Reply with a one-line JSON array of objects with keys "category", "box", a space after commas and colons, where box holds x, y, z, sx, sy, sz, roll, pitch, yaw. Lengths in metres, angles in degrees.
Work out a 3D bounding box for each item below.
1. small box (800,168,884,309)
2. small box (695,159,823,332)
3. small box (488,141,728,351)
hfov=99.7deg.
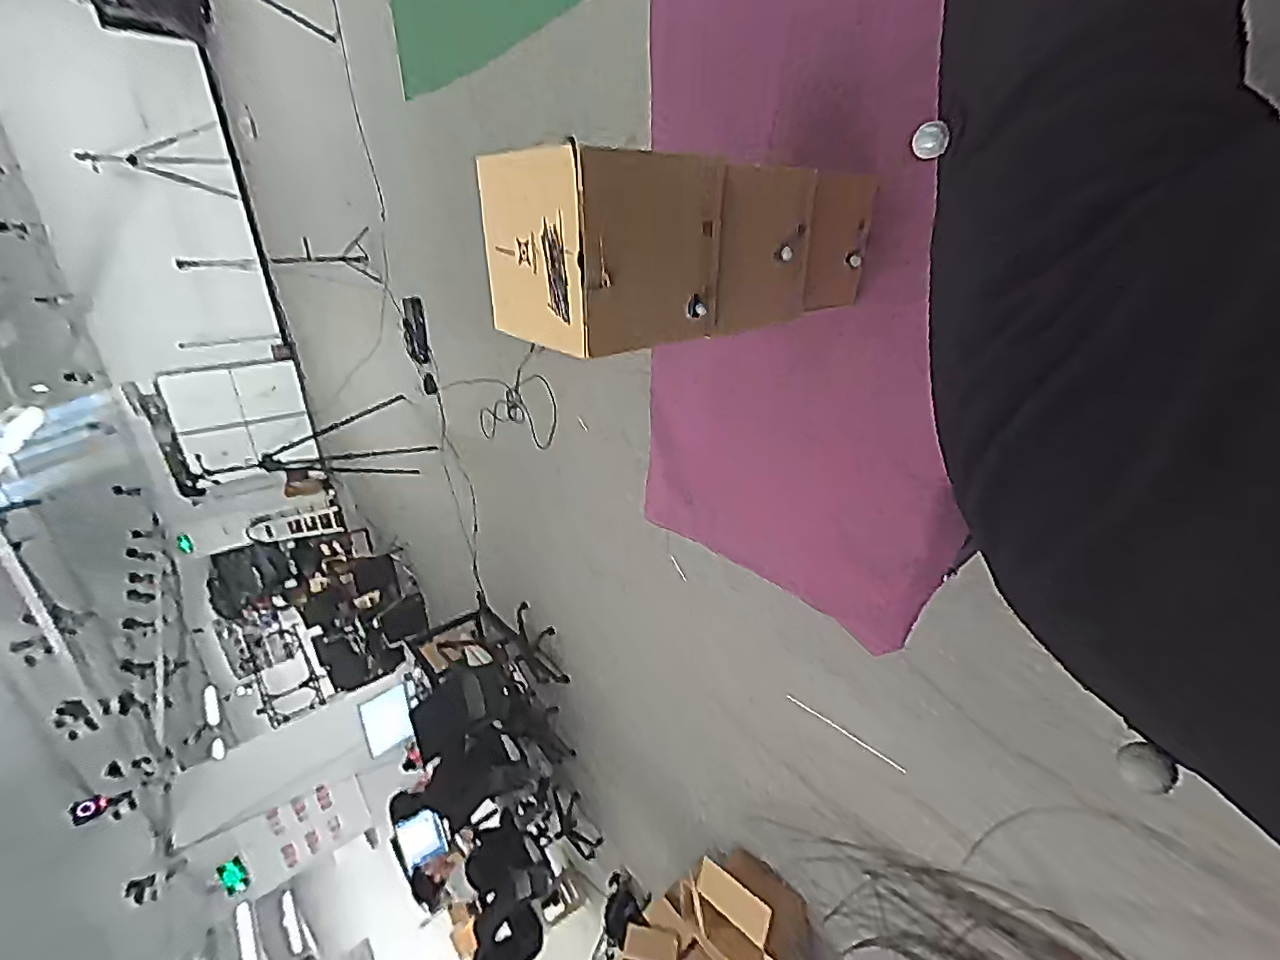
[{"category": "small box", "box": [0.204, -0.336, 0.756, 0.179, 0.176, 0.168, 29, 128, 42]}, {"category": "small box", "box": [0.089, -0.283, 0.652, 0.179, 0.176, 0.168, 27, 127, 43]}, {"category": "small box", "box": [-0.030, -0.239, 0.548, 0.179, 0.176, 0.168, 29, 128, 44]}]
